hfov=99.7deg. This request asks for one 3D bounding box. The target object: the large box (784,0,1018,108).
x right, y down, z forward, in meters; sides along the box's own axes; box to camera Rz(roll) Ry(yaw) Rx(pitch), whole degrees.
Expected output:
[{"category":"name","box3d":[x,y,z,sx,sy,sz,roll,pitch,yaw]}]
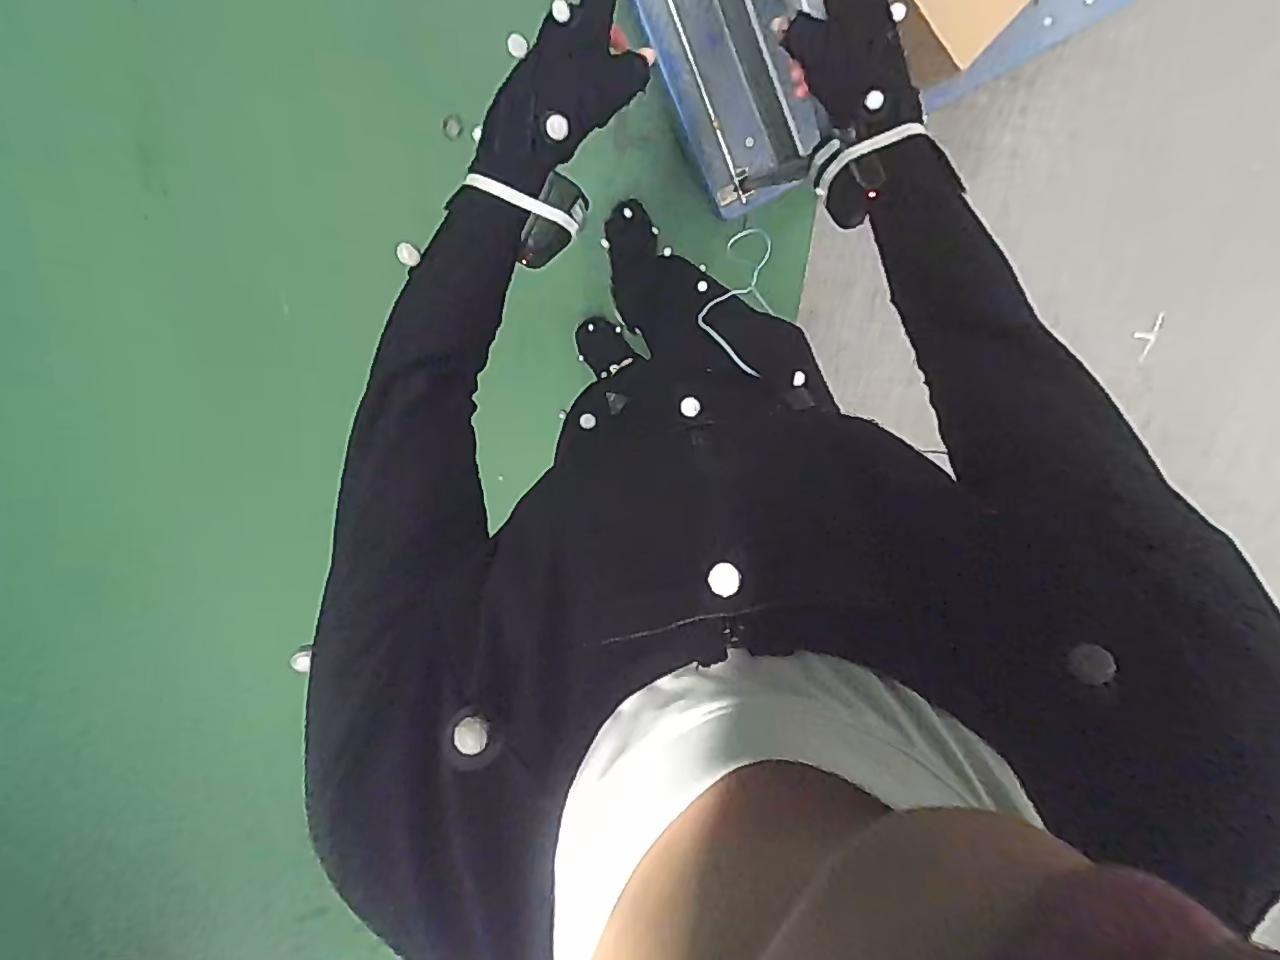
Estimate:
[{"category":"large box","box3d":[0.407,-0.878,0.818,0.408,0.320,0.320,39,107,-17]}]
